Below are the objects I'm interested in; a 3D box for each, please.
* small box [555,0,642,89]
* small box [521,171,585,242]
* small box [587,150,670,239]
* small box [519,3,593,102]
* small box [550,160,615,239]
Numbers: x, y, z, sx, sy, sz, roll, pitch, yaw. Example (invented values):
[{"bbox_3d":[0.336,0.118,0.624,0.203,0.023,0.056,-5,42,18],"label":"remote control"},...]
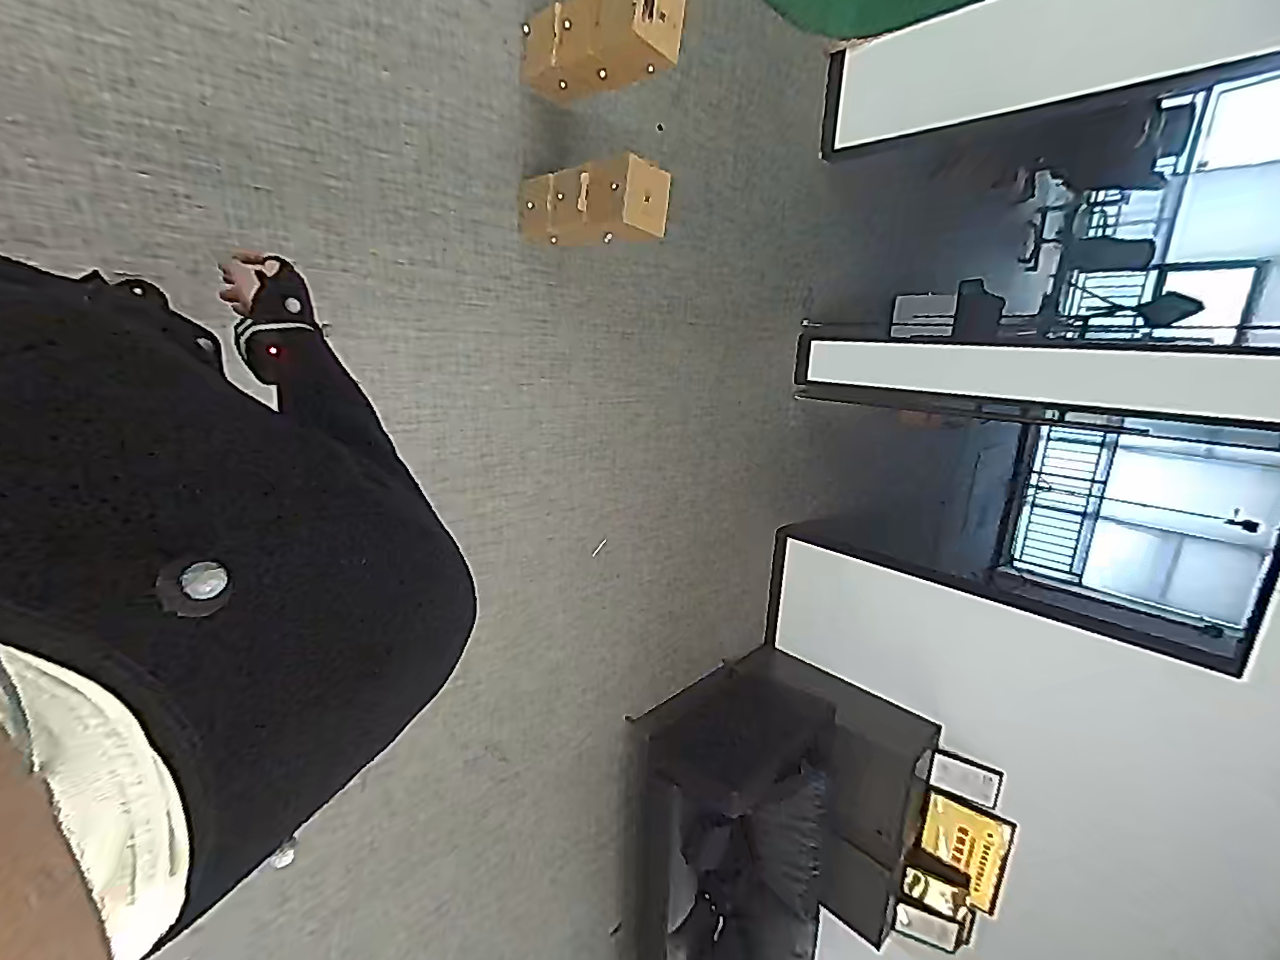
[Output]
[{"bbox_3d":[-0.122,-1.272,1.568,0.179,0.176,0.168,-4,106,-45],"label":"small box"},{"bbox_3d":[-0.274,-0.885,1.771,0.179,0.176,0.168,-9,109,-43],"label":"small box"},{"bbox_3d":[-0.037,-0.811,1.555,0.168,0.176,0.179,-3,104,-45],"label":"small box"},{"bbox_3d":[-0.258,-1.313,1.678,0.179,0.176,0.168,-5,107,-46],"label":"small box"},{"bbox_3d":[-0.151,-0.852,1.665,0.179,0.176,0.168,-3,103,-46],"label":"small box"}]
